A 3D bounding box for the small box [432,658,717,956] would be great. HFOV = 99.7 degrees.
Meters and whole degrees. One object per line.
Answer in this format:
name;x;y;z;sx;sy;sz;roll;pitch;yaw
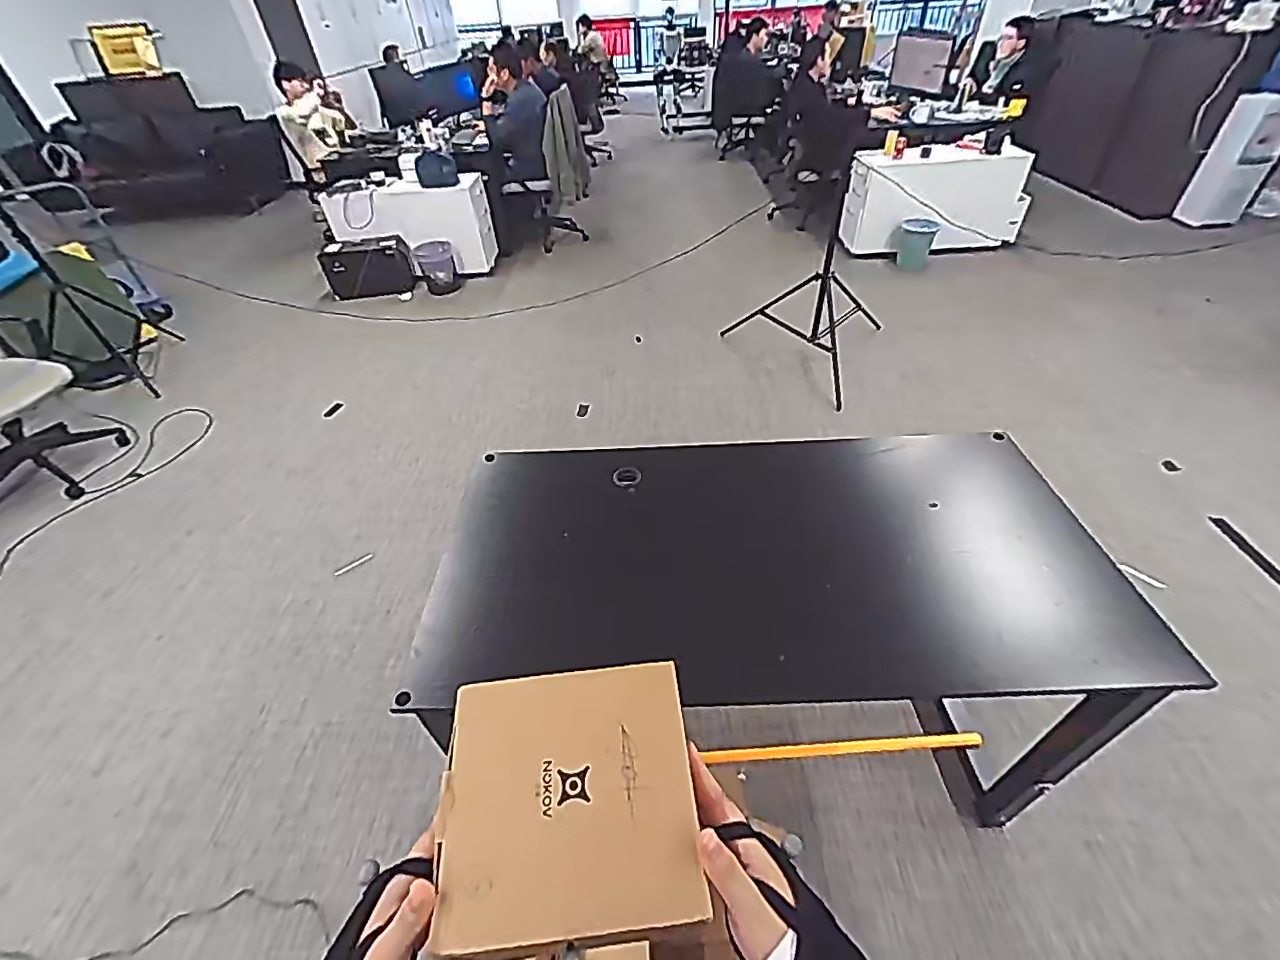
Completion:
small box;-0.043;0.264;0.434;0.179;0.176;0.168;-5;49;-4
